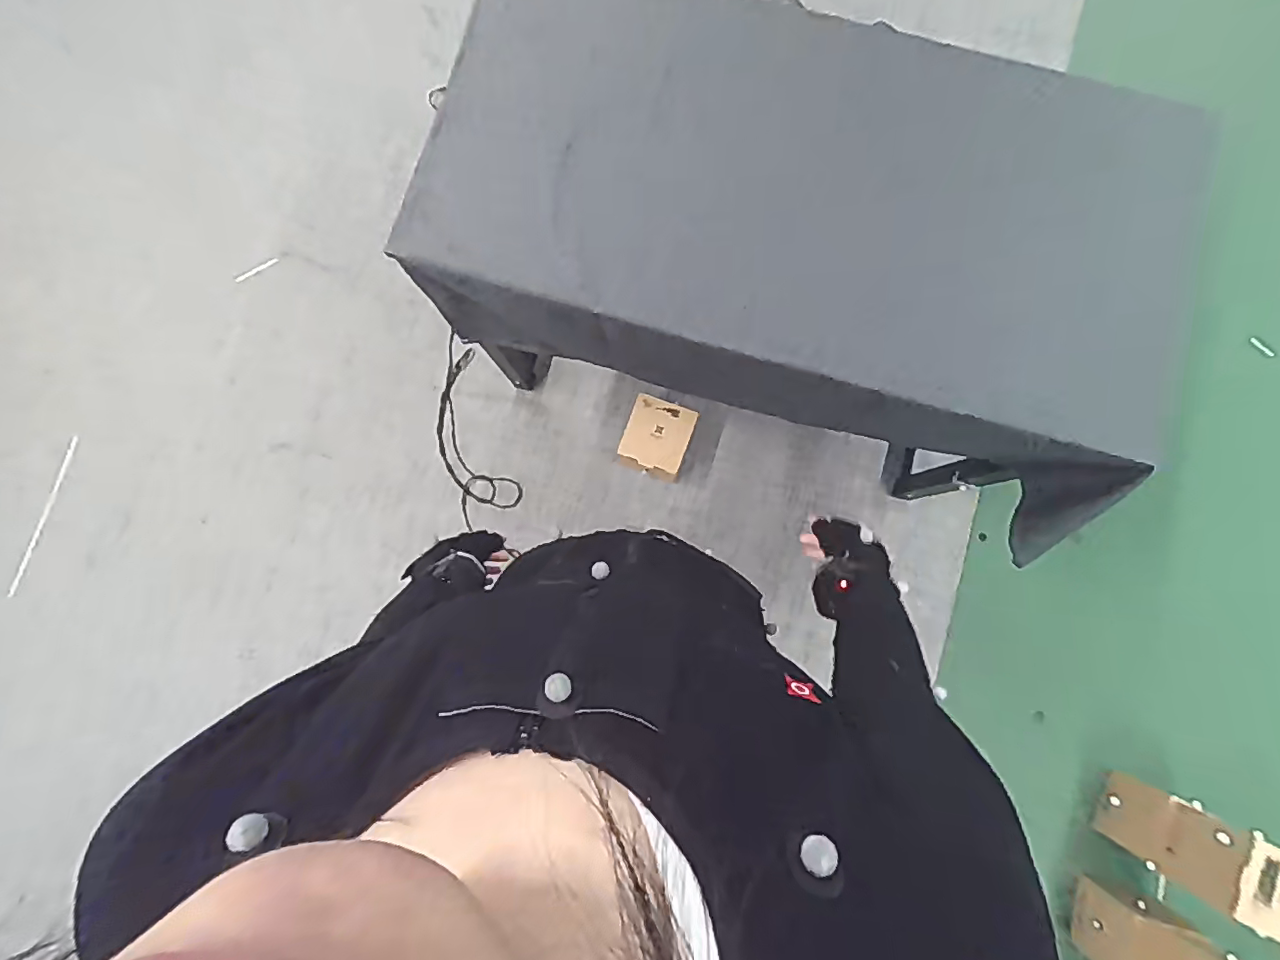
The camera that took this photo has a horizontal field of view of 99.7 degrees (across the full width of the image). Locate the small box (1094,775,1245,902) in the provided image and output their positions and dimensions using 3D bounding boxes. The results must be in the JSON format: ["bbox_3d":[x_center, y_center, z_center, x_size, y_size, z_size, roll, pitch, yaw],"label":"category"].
[{"bbox_3d":[1.271,0.853,1.310,0.179,0.176,0.168,27,82,5],"label":"small box"}]

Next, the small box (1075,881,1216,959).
[{"bbox_3d":[1.181,1.093,1.276,0.179,0.176,0.168,14,82,2],"label":"small box"}]

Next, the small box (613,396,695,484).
[{"bbox_3d":[0.039,-0.099,1.448,0.168,0.176,0.179,20,83,4],"label":"small box"}]

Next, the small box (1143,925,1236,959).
[{"bbox_3d":[1.183,1.079,1.114,0.168,0.176,0.179,17,83,3],"label":"small box"}]
